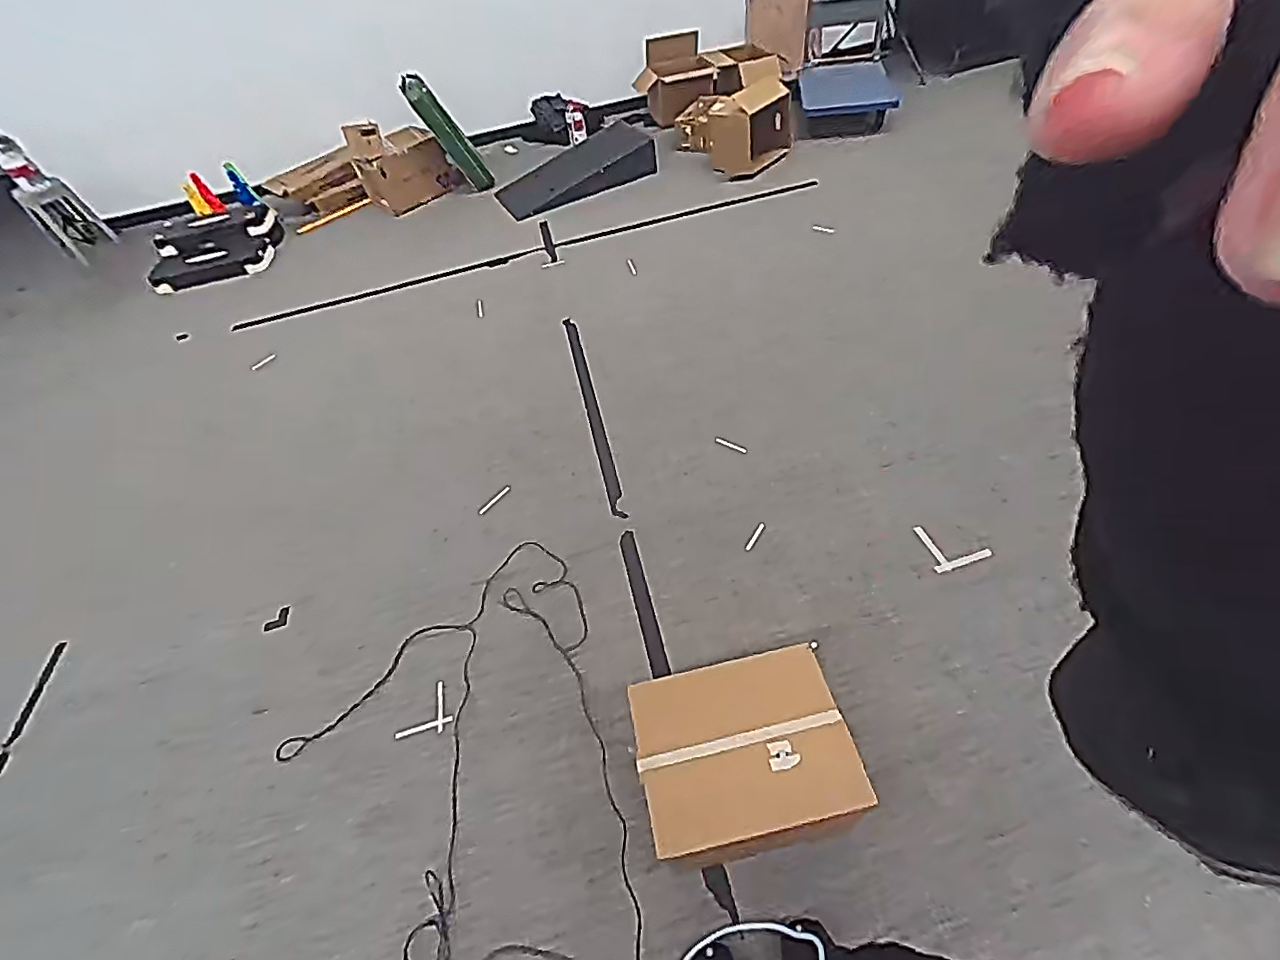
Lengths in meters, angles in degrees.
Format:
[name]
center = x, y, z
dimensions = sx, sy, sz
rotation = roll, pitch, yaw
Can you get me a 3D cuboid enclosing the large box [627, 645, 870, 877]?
[large box]
center = 0.210, 0.609, 1.169
dimensions = 0.408, 0.320, 0.320
rotation = -13, 49, -3
